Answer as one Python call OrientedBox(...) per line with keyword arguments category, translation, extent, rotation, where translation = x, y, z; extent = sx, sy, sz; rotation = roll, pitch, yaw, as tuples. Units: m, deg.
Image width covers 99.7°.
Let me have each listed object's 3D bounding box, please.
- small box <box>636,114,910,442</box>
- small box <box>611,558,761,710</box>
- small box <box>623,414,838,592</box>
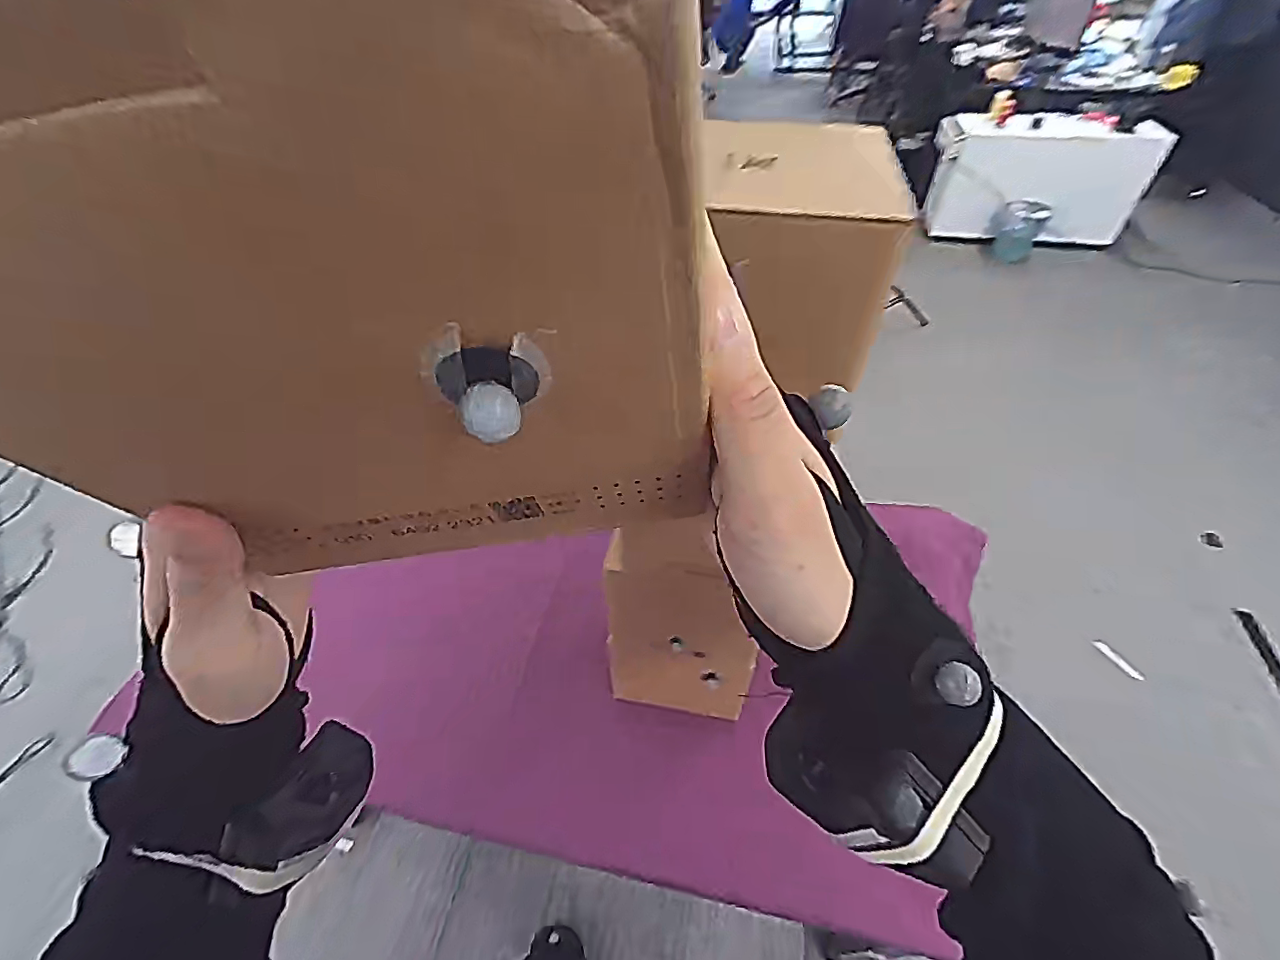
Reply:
OrientedBox(category="small box", translation=(0.069, -0.145, 0.397), extent=(0.179, 0.176, 0.168), rotation=(7, 48, 8))
OrientedBox(category="small box", translation=(0.067, 0.199, 0.747), extent=(0.179, 0.176, 0.168), rotation=(7, 47, 9))
OrientedBox(category="small box", translation=(0.078, -0.023, 0.506), extent=(0.168, 0.176, 0.179), rotation=(7, 47, 9))
